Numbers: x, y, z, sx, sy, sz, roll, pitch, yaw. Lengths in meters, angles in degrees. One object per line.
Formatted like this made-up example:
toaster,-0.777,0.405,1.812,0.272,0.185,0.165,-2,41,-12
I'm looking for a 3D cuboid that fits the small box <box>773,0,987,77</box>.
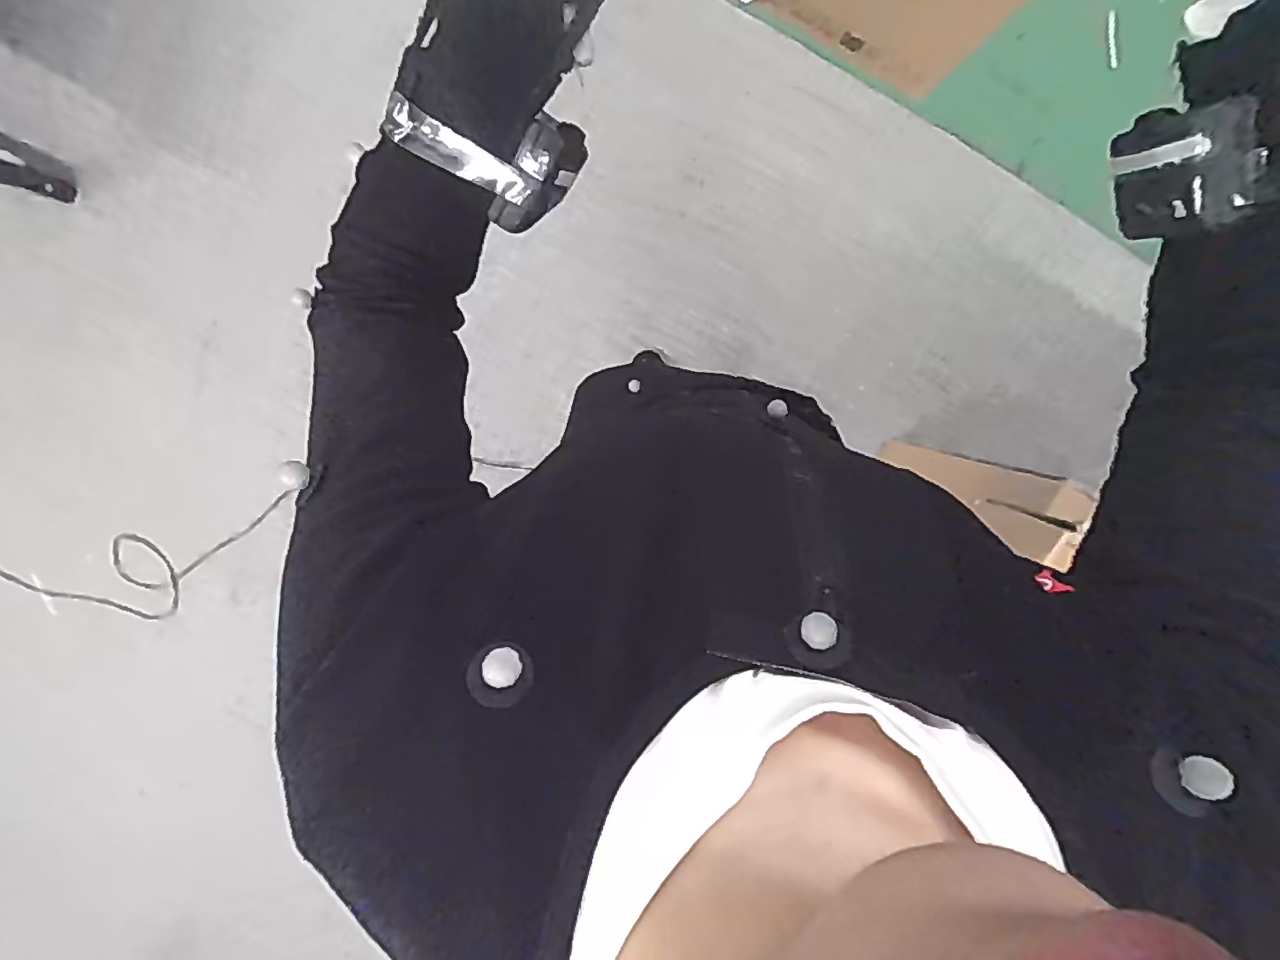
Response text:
small box,0.142,-0.347,0.257,0.168,0.176,0.179,26,103,-4
